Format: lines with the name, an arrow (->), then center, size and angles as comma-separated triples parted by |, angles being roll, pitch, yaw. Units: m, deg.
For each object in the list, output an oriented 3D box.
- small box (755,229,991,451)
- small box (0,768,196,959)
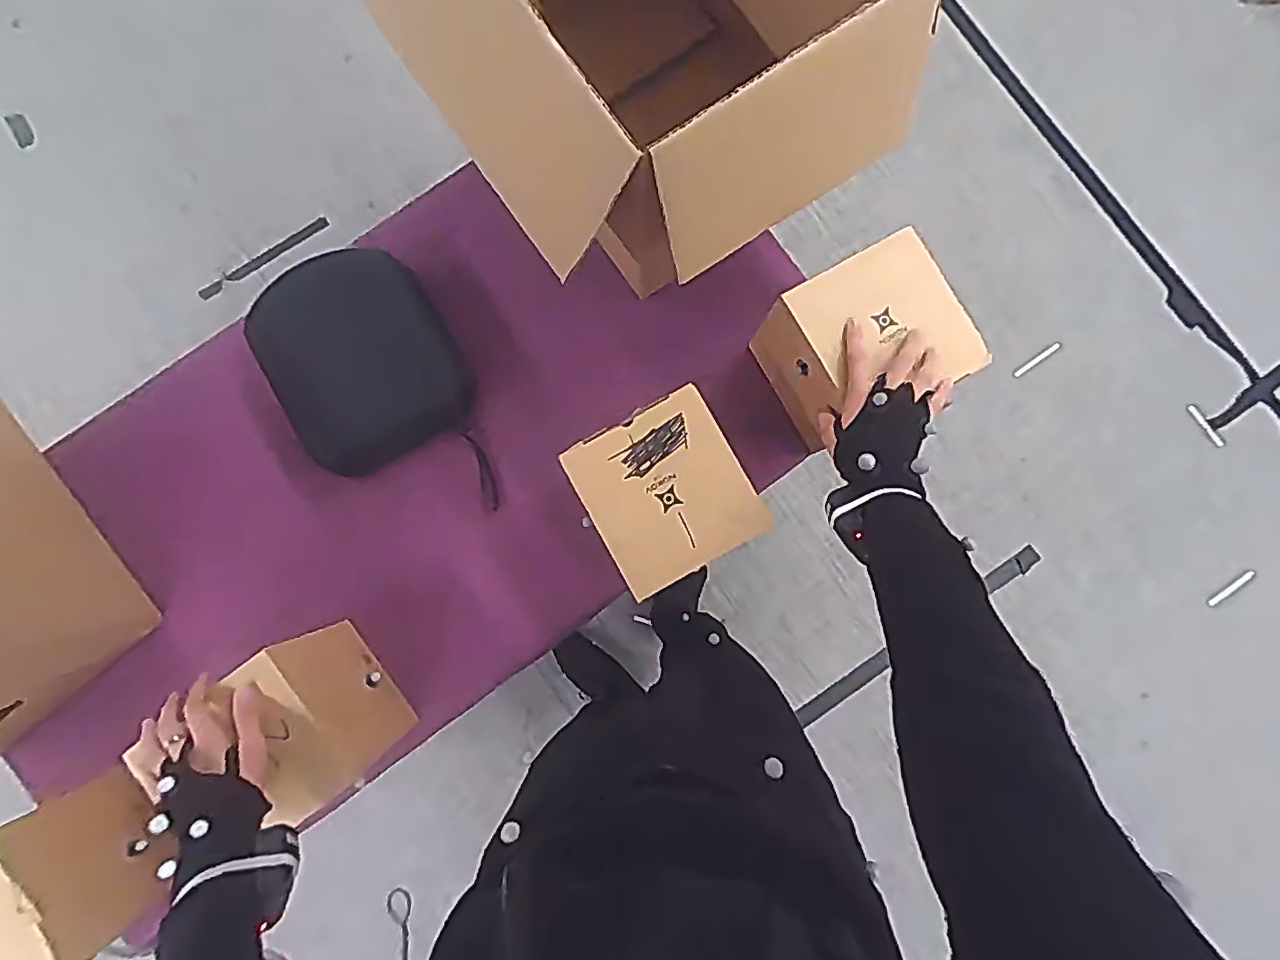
small box -> 0.260, -0.153, 0.653 | 0.168, 0.176, 0.179 | -29, 86, -2
small box -> -0.674, 0.474, 0.611 | 0.179, 0.176, 0.168 | -35, 87, -3
